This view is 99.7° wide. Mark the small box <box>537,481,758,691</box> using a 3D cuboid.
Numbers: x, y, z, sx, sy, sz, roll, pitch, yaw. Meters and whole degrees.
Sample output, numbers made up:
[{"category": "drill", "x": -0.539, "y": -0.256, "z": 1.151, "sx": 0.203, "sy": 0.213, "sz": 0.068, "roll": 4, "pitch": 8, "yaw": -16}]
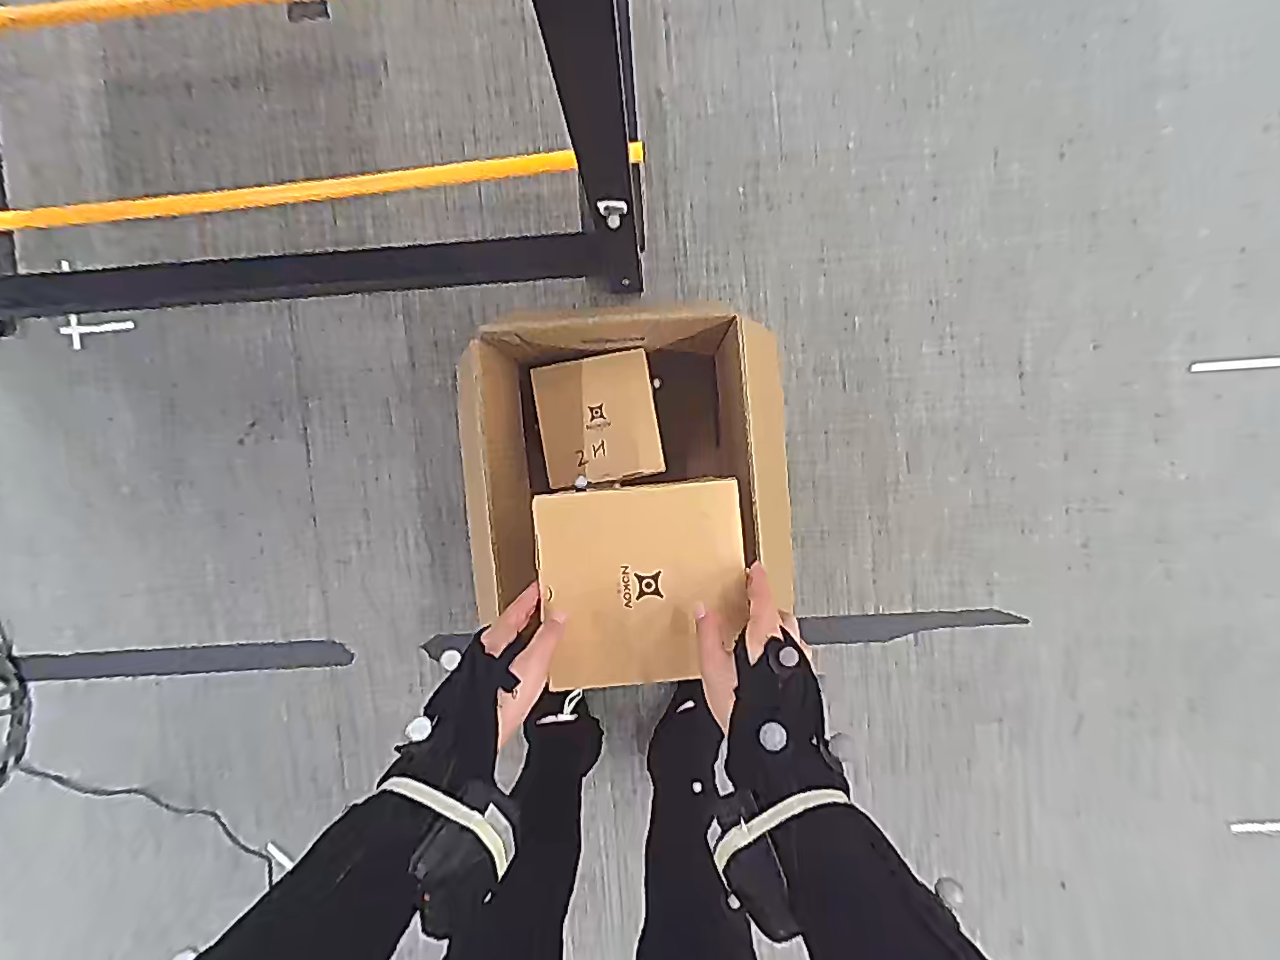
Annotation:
[{"category": "small box", "x": 0.006, "y": 0.089, "z": 0.531, "sx": 0.179, "sy": 0.176, "sz": 0.168, "roll": -6, "pitch": 89, "yaw": 1}]
